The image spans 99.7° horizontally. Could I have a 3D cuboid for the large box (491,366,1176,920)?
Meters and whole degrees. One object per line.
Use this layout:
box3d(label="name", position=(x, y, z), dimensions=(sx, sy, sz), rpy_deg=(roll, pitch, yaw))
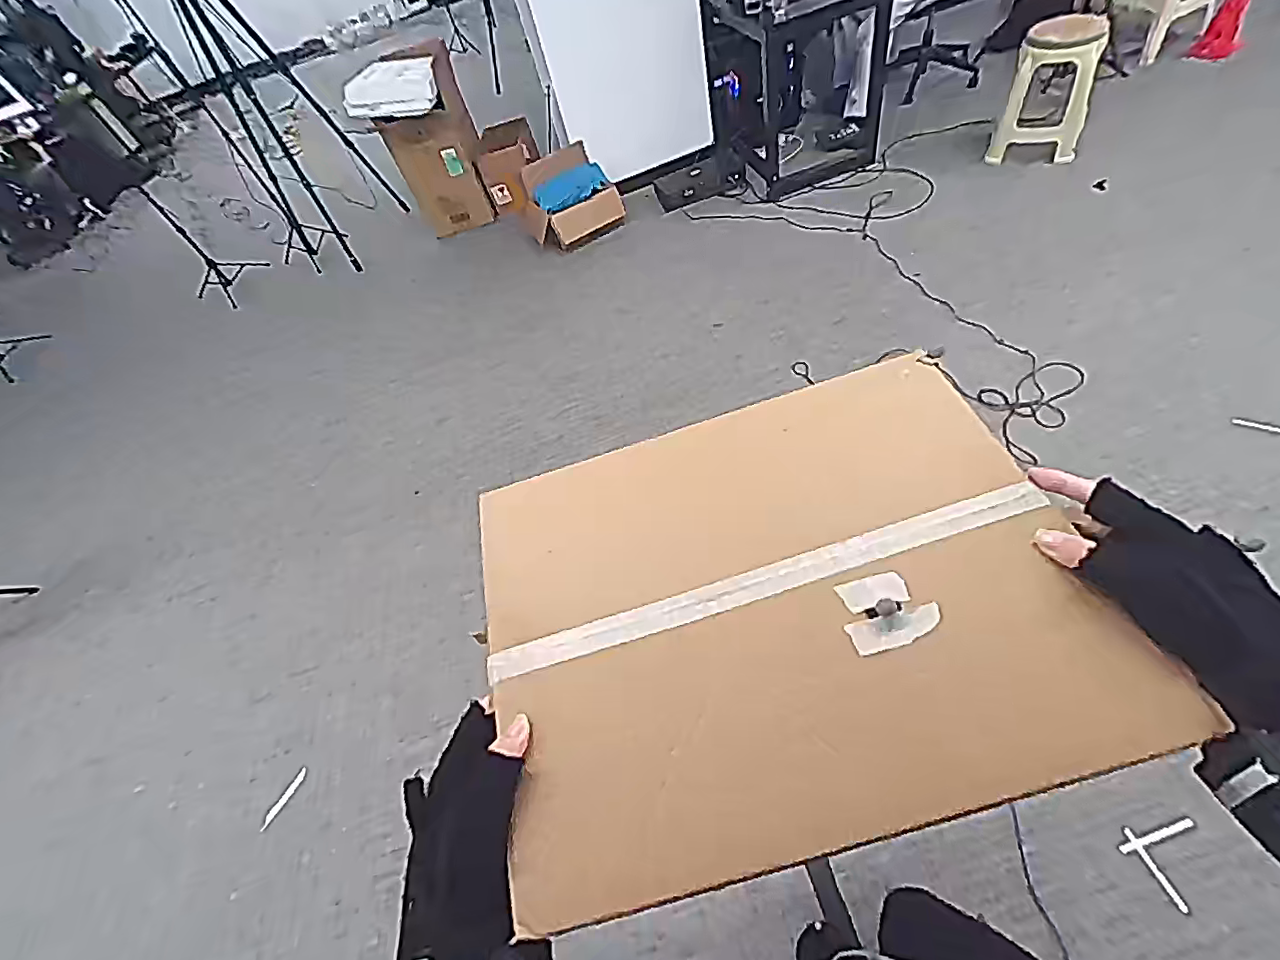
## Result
box3d(label="large box", position=(0.117, 0.160, 0.521), dimensions=(0.408, 0.320, 0.320), rpy_deg=(-18, 55, 2))
